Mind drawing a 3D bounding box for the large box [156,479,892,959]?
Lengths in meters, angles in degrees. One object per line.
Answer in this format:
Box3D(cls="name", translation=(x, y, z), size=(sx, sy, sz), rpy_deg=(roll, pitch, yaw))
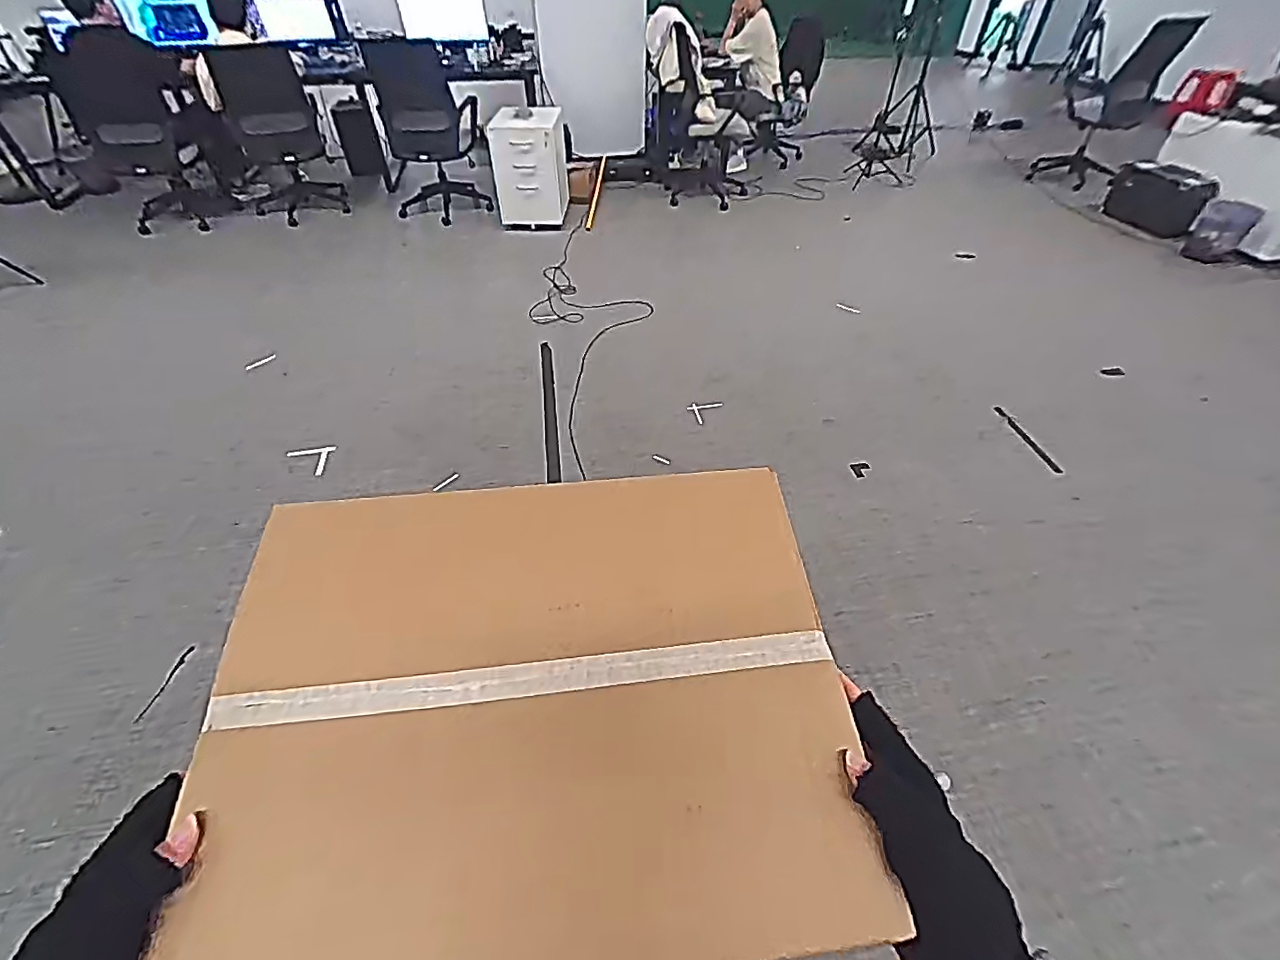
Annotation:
Box3D(cls="large box", translation=(-0.074, 0.226, 0.487), size=(0.408, 0.320, 0.320), rpy_deg=(-5, 55, -5))
